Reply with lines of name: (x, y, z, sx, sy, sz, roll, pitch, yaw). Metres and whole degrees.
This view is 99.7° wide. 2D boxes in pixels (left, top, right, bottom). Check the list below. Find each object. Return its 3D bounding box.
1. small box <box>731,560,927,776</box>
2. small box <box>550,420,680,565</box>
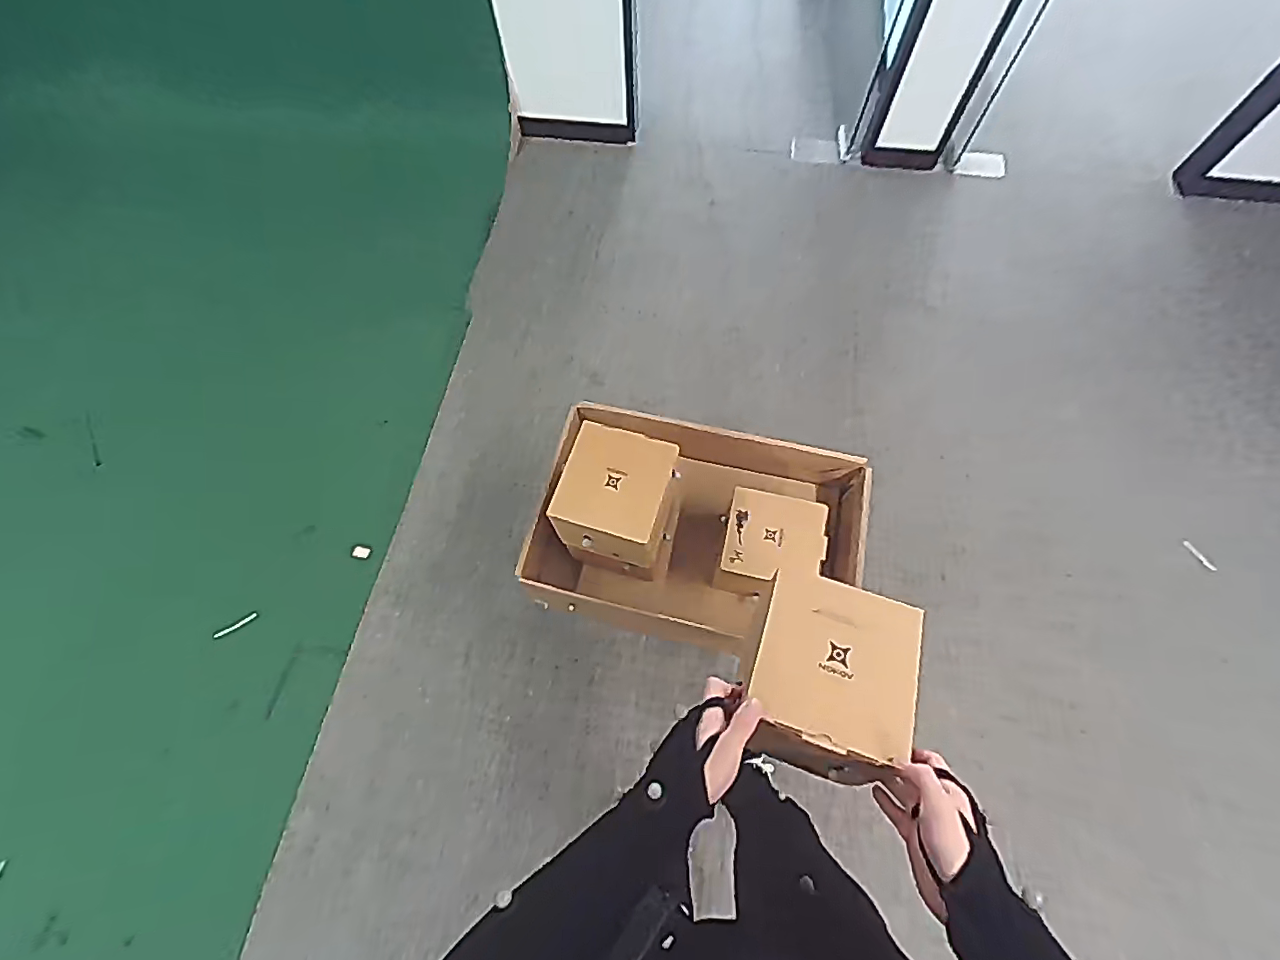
small box: (0.213, 0.228, 0.639, 0.168, 0.176, 0.179, 18, 58, 10)
small box: (-0.033, 0.029, 0.921, 0.168, 0.176, 0.179, 16, 68, 8)
